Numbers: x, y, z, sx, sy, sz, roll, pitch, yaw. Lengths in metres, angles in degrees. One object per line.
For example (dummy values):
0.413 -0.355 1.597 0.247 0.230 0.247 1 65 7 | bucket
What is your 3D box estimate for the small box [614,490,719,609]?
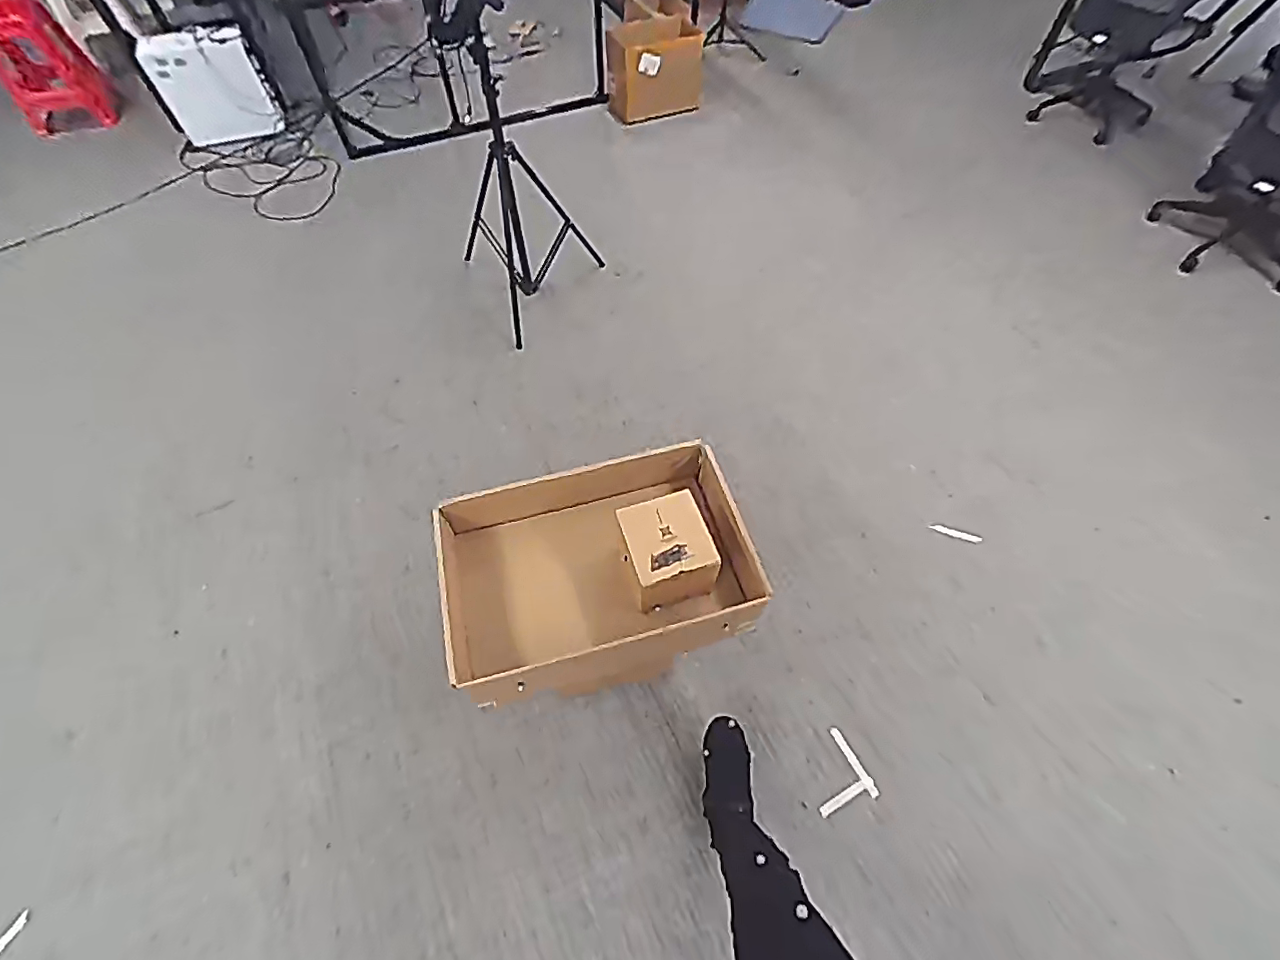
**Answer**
0.052 0.153 1.127 0.168 0.176 0.179 -16 59 -10 | small box
